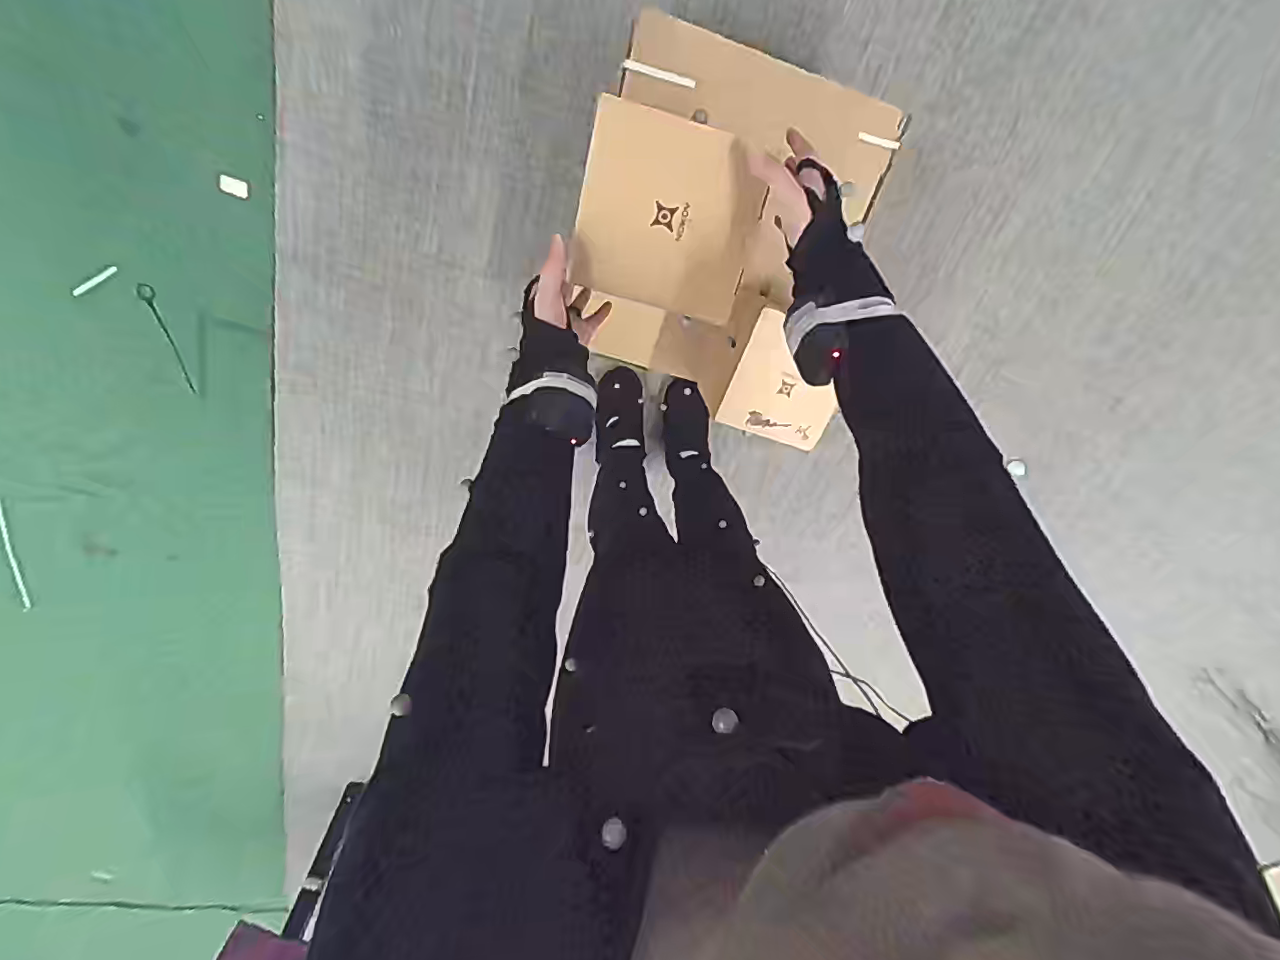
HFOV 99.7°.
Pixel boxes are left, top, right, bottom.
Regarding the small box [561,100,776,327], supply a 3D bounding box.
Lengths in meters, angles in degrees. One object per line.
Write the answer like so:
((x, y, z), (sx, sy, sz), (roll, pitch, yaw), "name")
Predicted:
((0.021, -0.283, 0.597), (0.179, 0.176, 0.168), (12, 114, -9), "small box")

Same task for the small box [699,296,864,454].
((0.203, -0.170, 0.840), (0.168, 0.176, 0.179), (17, 114, -11), "small box")
